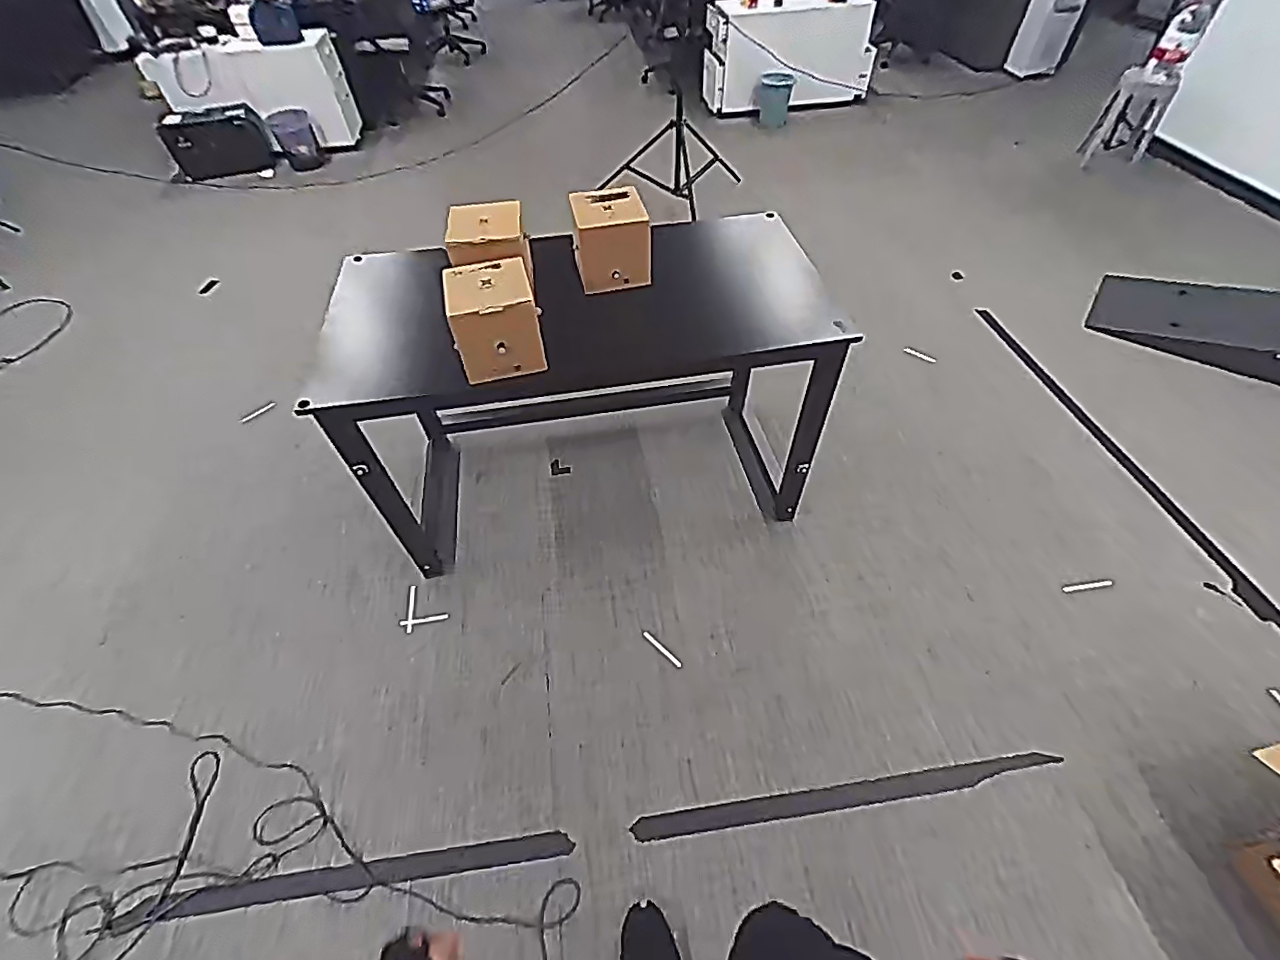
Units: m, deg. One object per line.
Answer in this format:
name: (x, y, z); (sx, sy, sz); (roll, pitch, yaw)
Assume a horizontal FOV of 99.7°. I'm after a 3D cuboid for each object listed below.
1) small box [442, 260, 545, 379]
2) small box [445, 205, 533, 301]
small box: (-0.303, -0.329, 1.132); (0.168, 0.176, 0.179); (-13, 52, -8)
small box: (-0.356, -0.534, 1.301); (0.168, 0.176, 0.179); (-8, 52, -4)
